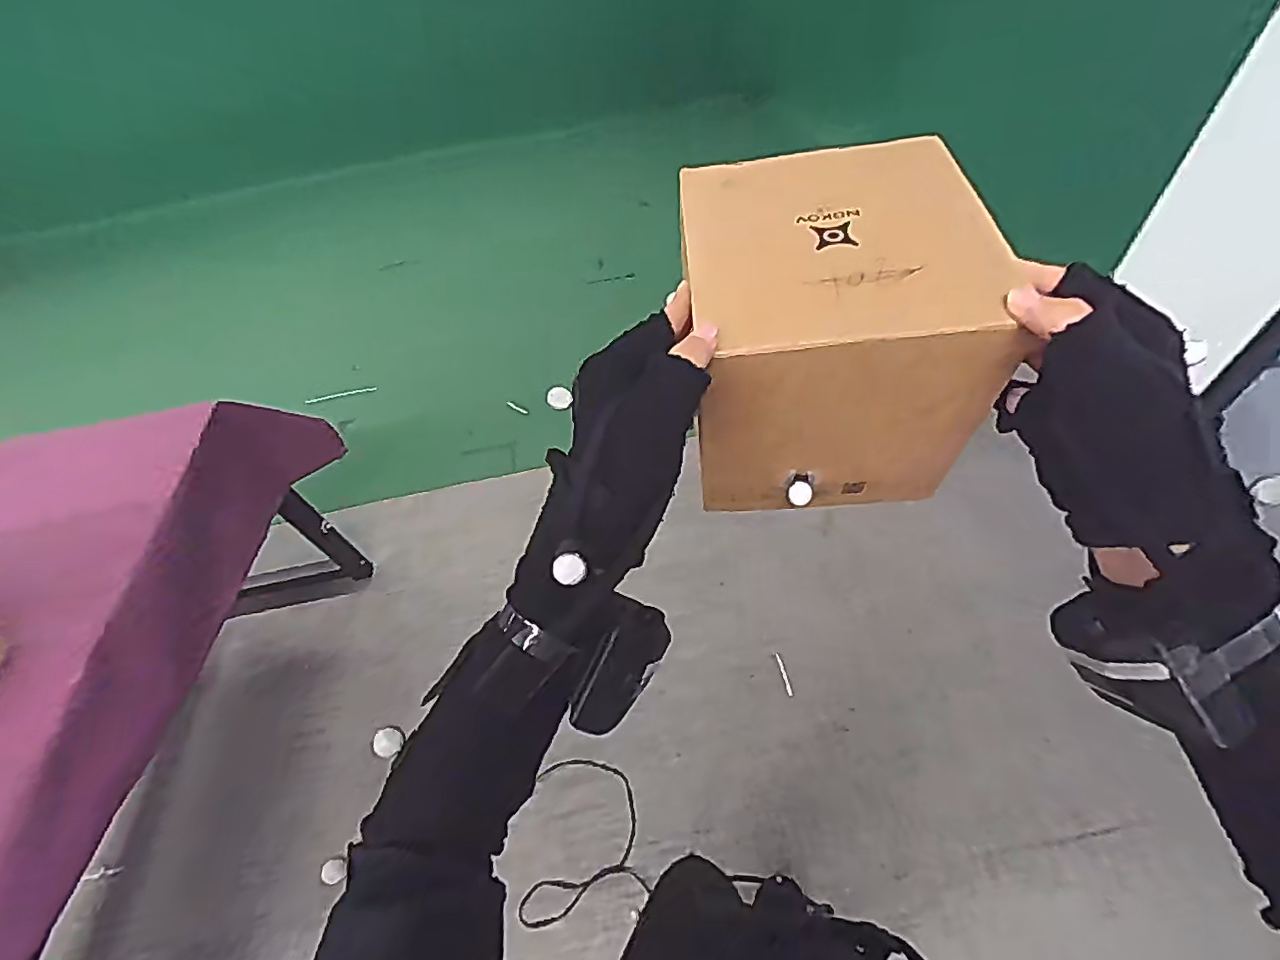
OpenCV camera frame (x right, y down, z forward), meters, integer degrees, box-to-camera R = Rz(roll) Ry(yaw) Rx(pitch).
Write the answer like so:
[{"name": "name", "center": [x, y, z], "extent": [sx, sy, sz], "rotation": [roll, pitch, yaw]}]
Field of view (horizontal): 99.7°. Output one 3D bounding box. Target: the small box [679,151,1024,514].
[{"name": "small box", "center": [0.115, -0.095, 0.381], "extent": [0.168, 0.176, 0.179], "rotation": [-5, 56, 6]}]
